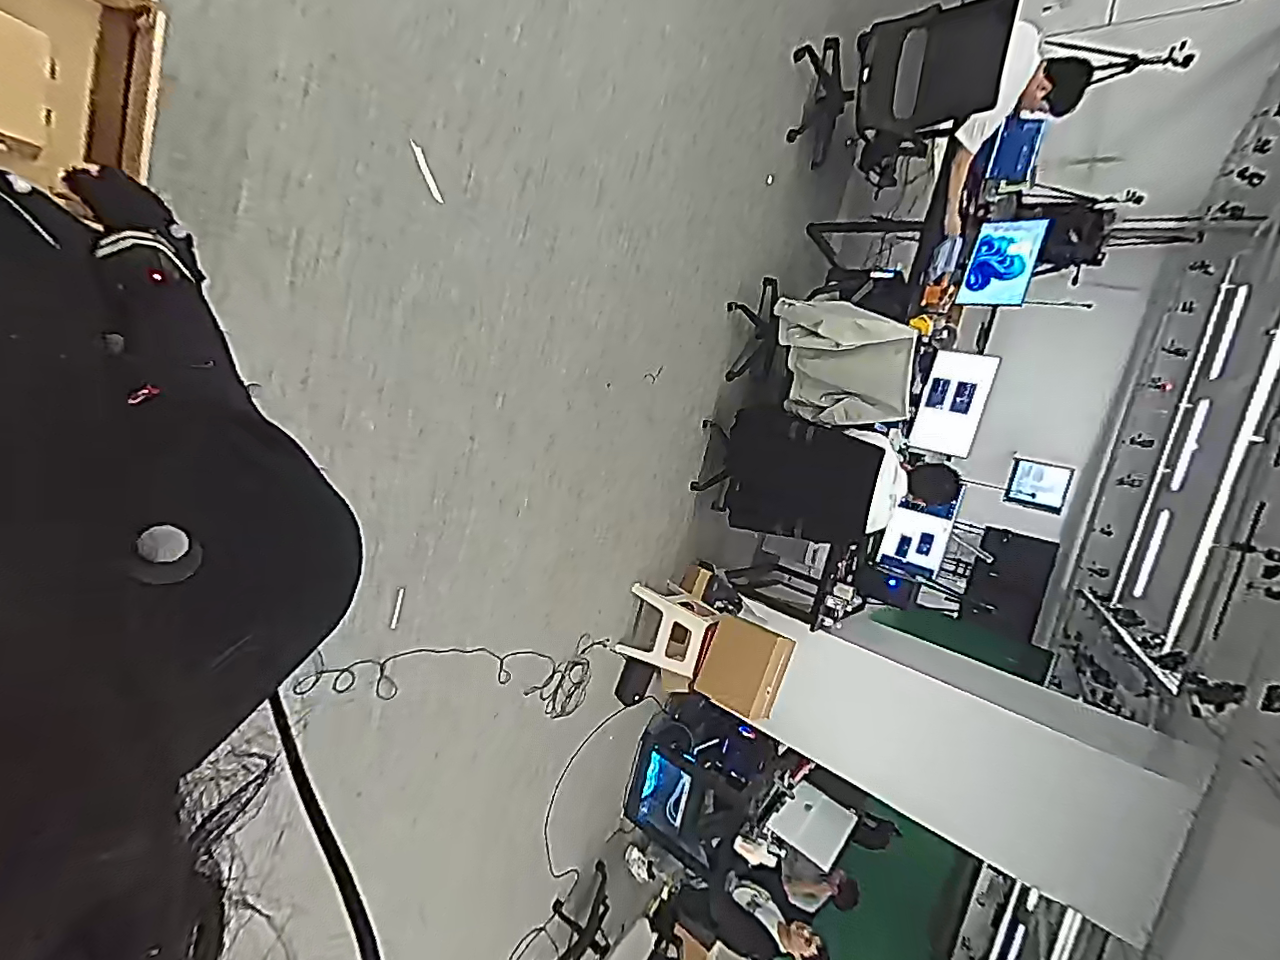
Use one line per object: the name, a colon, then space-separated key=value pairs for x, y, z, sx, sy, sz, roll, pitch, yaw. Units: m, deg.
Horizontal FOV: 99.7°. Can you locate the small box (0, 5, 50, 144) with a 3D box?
small box: x=-1.022 y=-0.627 z=0.799 sx=0.179 sy=0.176 sz=0.168 roll=7 pitch=99 yaw=-53
